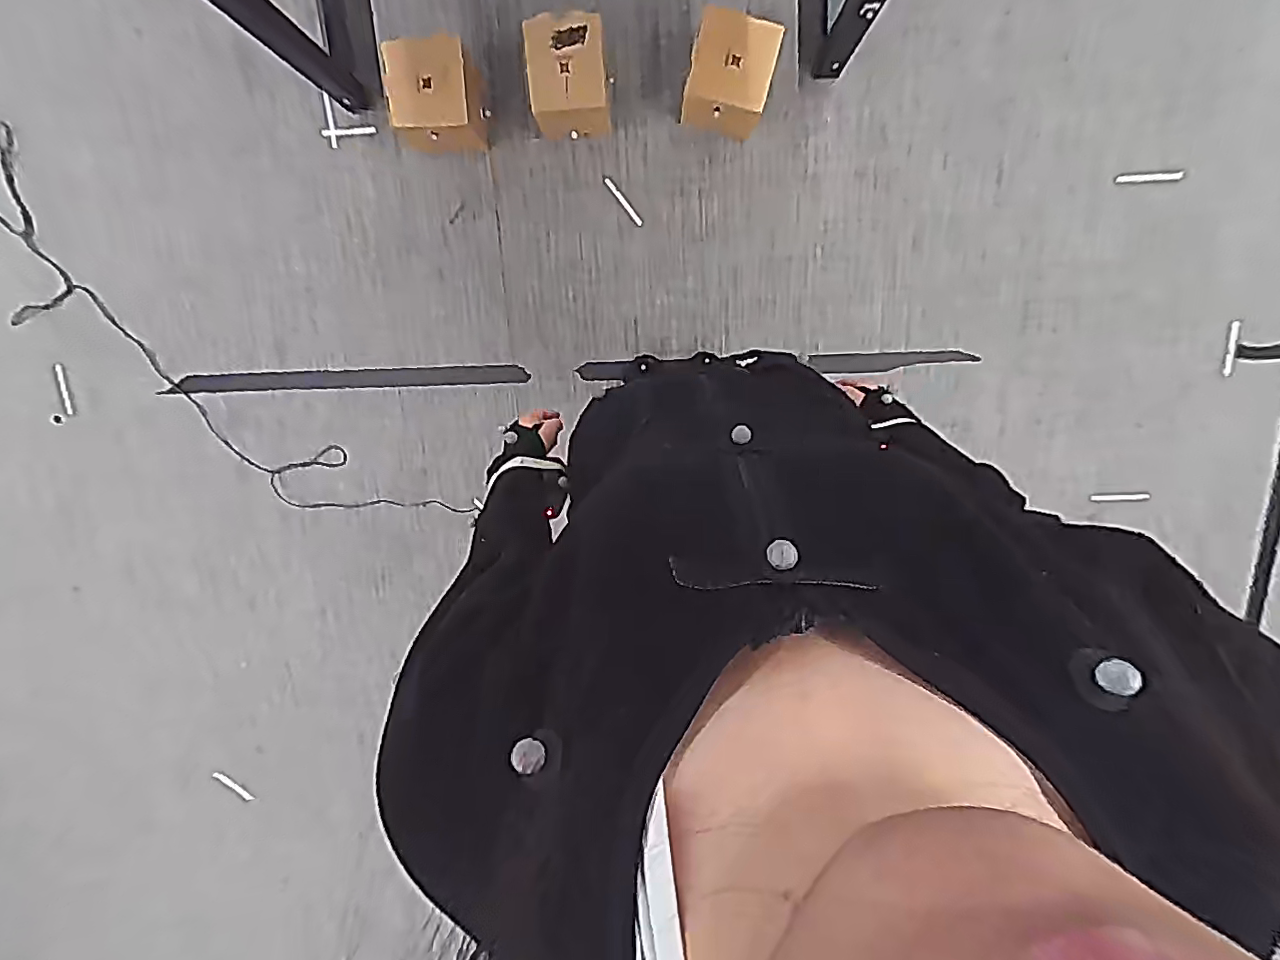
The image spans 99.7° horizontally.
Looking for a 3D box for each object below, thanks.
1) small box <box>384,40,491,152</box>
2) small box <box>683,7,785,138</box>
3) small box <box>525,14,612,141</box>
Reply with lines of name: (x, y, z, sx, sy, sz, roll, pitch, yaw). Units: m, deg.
small box: (-0.457, -0.872, 1.244, 0.179, 0.176, 0.168, 0, 104, 1)
small box: (0.203, -0.899, 1.215, 0.179, 0.176, 0.168, 15, 104, 0)
small box: (-0.154, -0.901, 1.225, 0.168, 0.176, 0.179, -3, 104, 3)
